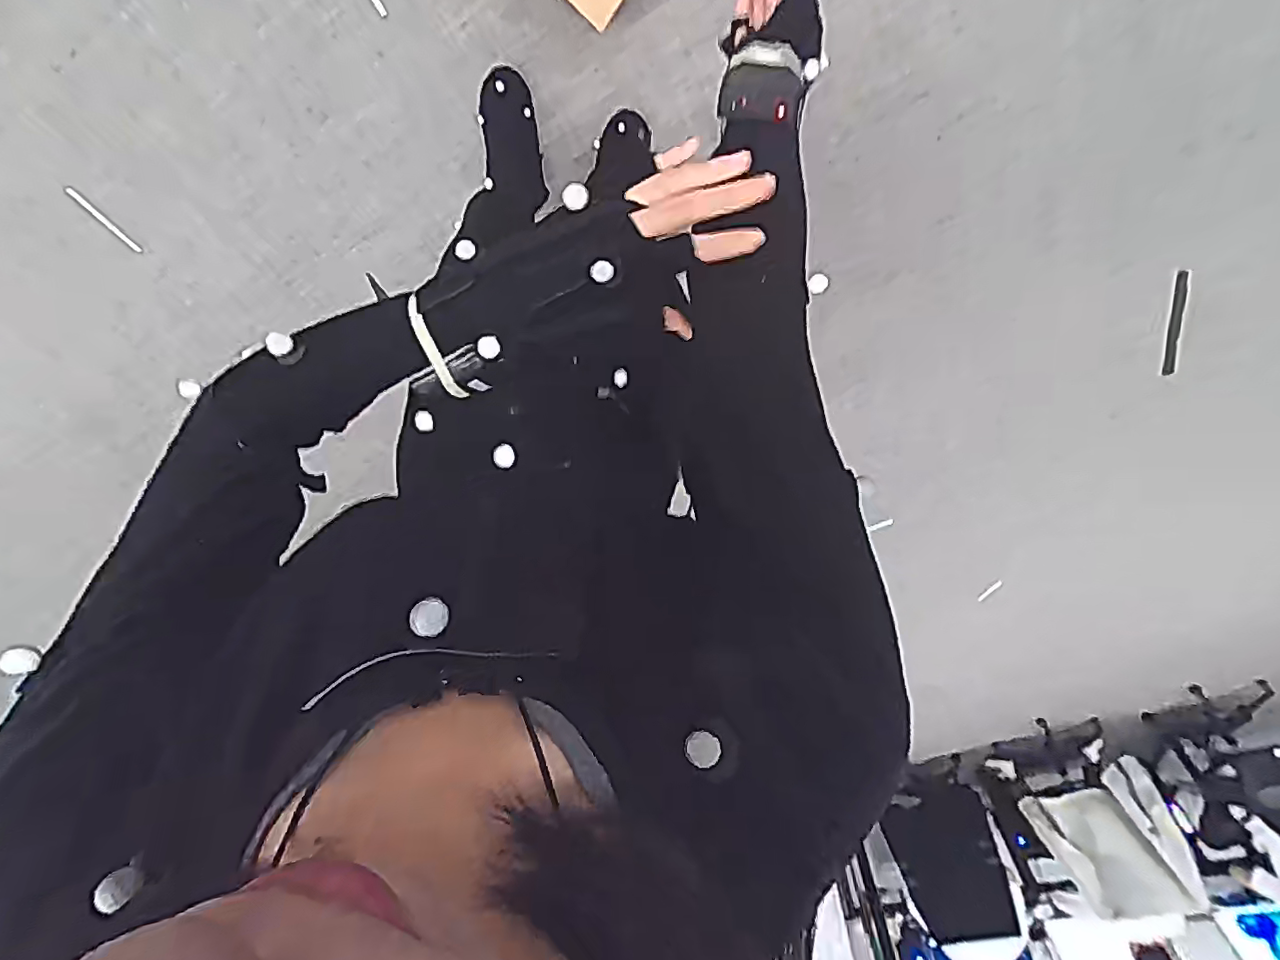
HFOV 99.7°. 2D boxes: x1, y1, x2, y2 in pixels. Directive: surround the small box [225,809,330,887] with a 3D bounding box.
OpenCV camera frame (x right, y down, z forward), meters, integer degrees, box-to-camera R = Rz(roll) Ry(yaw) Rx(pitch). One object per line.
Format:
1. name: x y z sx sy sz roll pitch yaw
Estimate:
1. small box: -1.103 1.128 1.662 0.168 0.176 0.179 -19 133 16
